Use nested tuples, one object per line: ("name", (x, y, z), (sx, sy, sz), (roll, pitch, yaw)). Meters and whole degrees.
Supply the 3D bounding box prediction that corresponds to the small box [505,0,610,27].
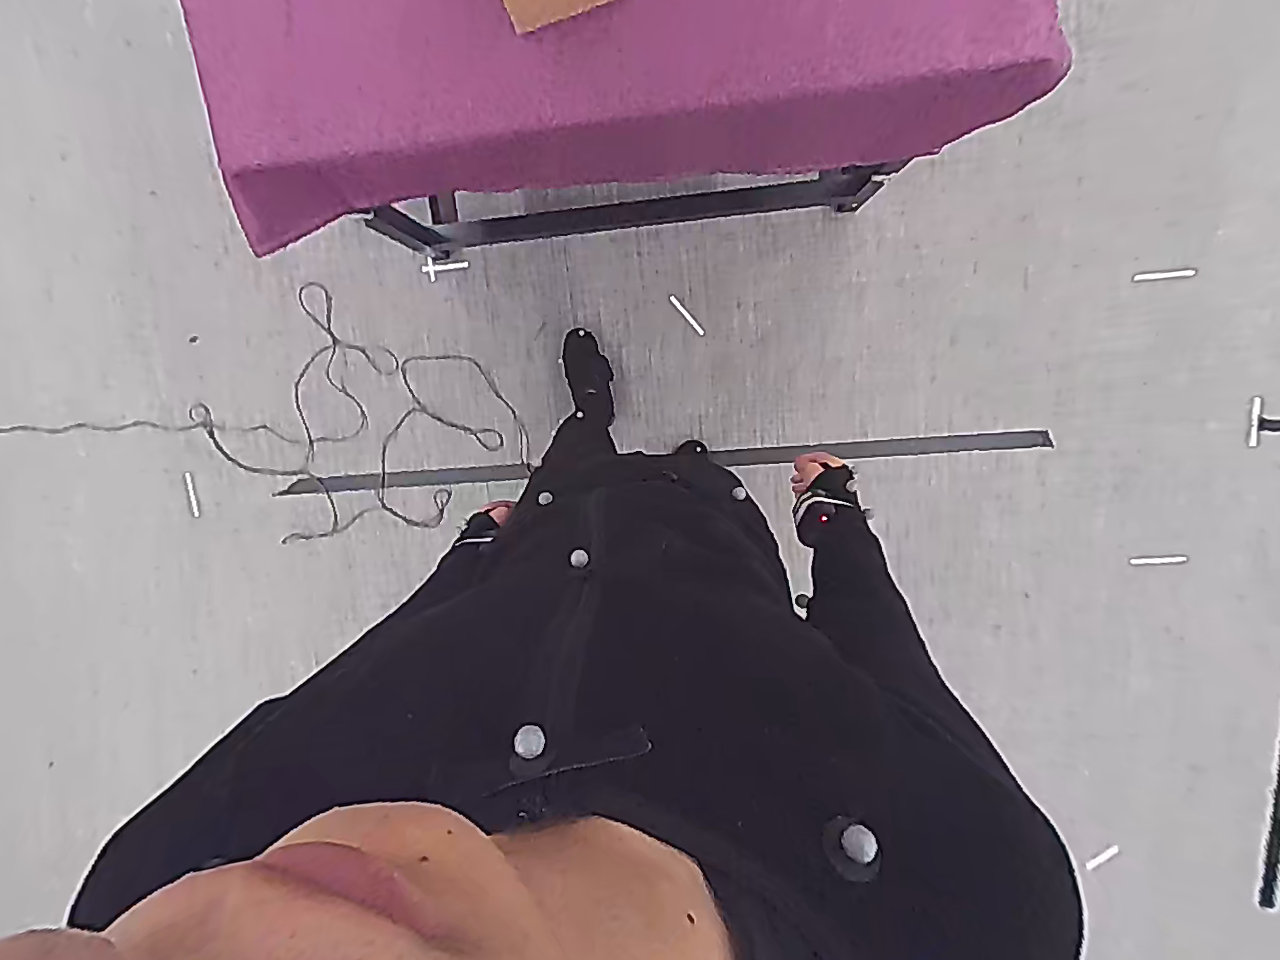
("small box", (-0.115, -0.716, 0.665), (0.179, 0.176, 0.168), (-15, 99, 5))
